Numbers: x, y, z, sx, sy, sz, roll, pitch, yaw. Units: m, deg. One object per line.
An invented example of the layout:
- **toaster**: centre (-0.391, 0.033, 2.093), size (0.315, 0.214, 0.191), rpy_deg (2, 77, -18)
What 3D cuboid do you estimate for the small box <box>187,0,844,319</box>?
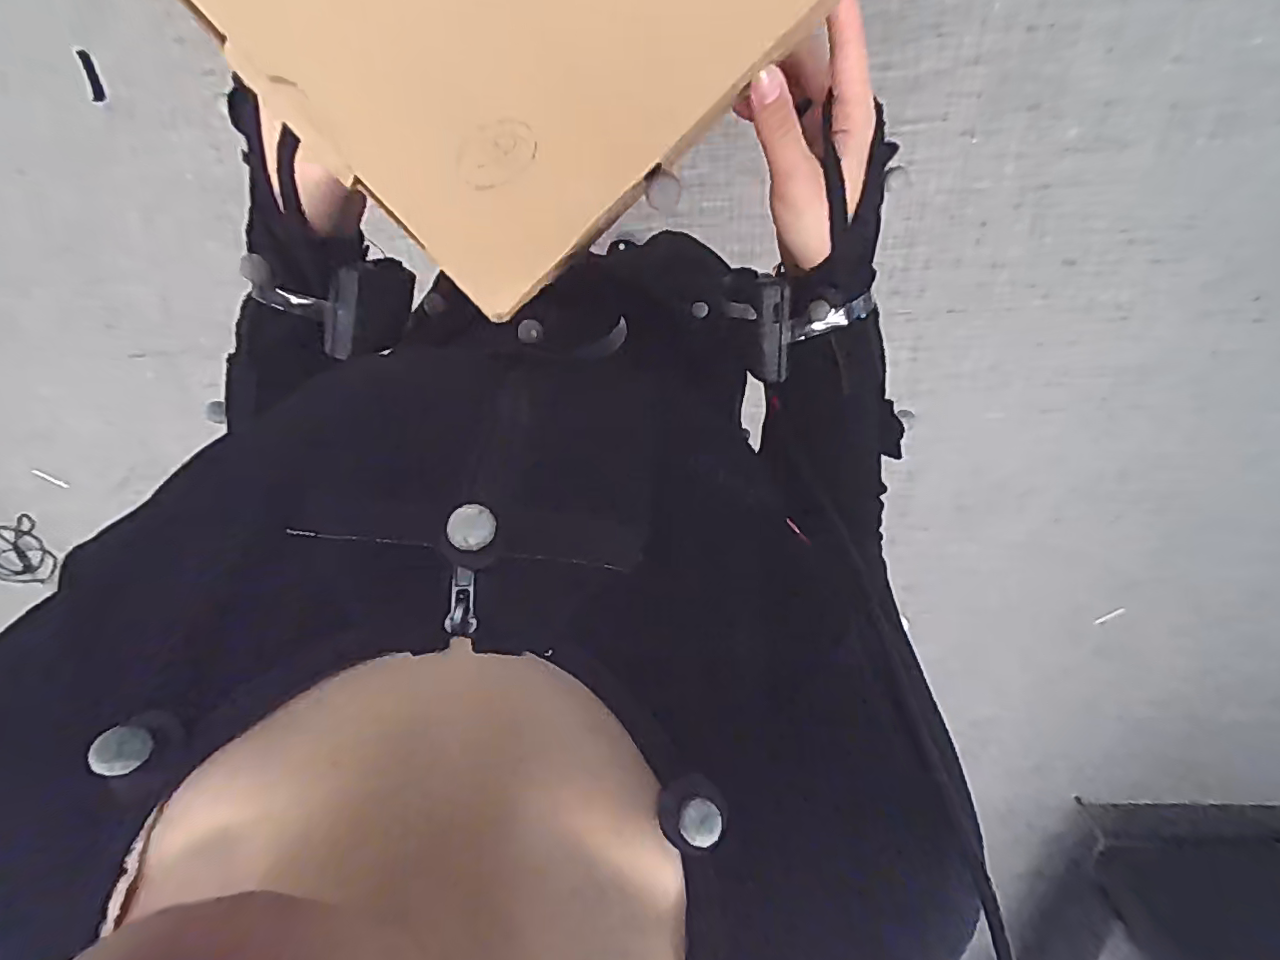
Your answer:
- **small box**: centre (-0.033, -0.194, 0.207), size (0.179, 0.176, 0.168), rpy_deg (-37, 110, 19)
